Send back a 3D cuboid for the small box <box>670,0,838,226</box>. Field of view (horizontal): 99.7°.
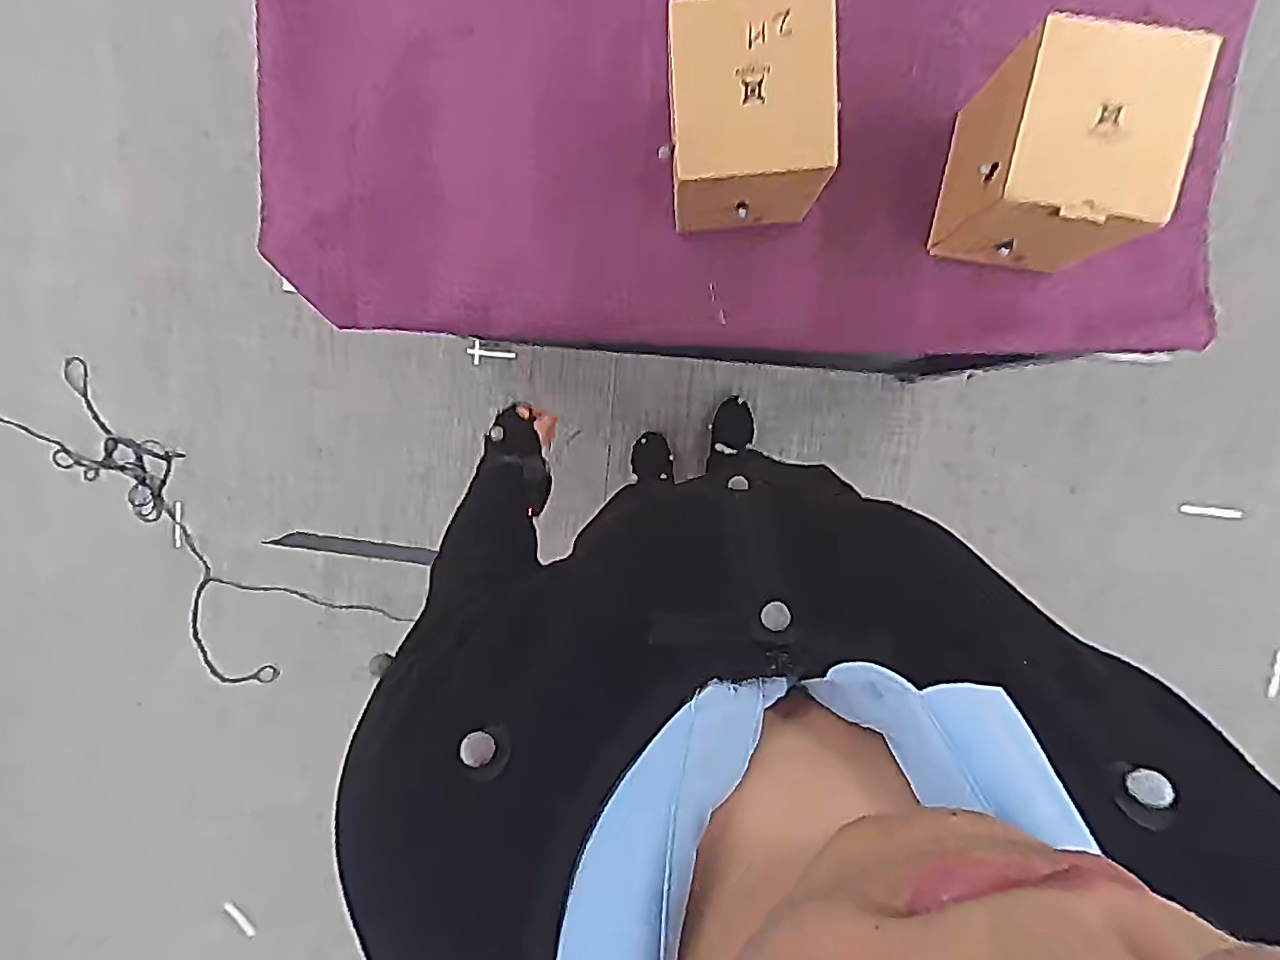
[{"bbox_3d":[0.122,-0.409,0.624,0.168,0.176,0.179,-3,96,4],"label":"small box"}]

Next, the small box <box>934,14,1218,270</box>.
[{"bbox_3d":[0.463,-0.359,0.607,0.168,0.176,0.179,10,96,3],"label":"small box"}]
